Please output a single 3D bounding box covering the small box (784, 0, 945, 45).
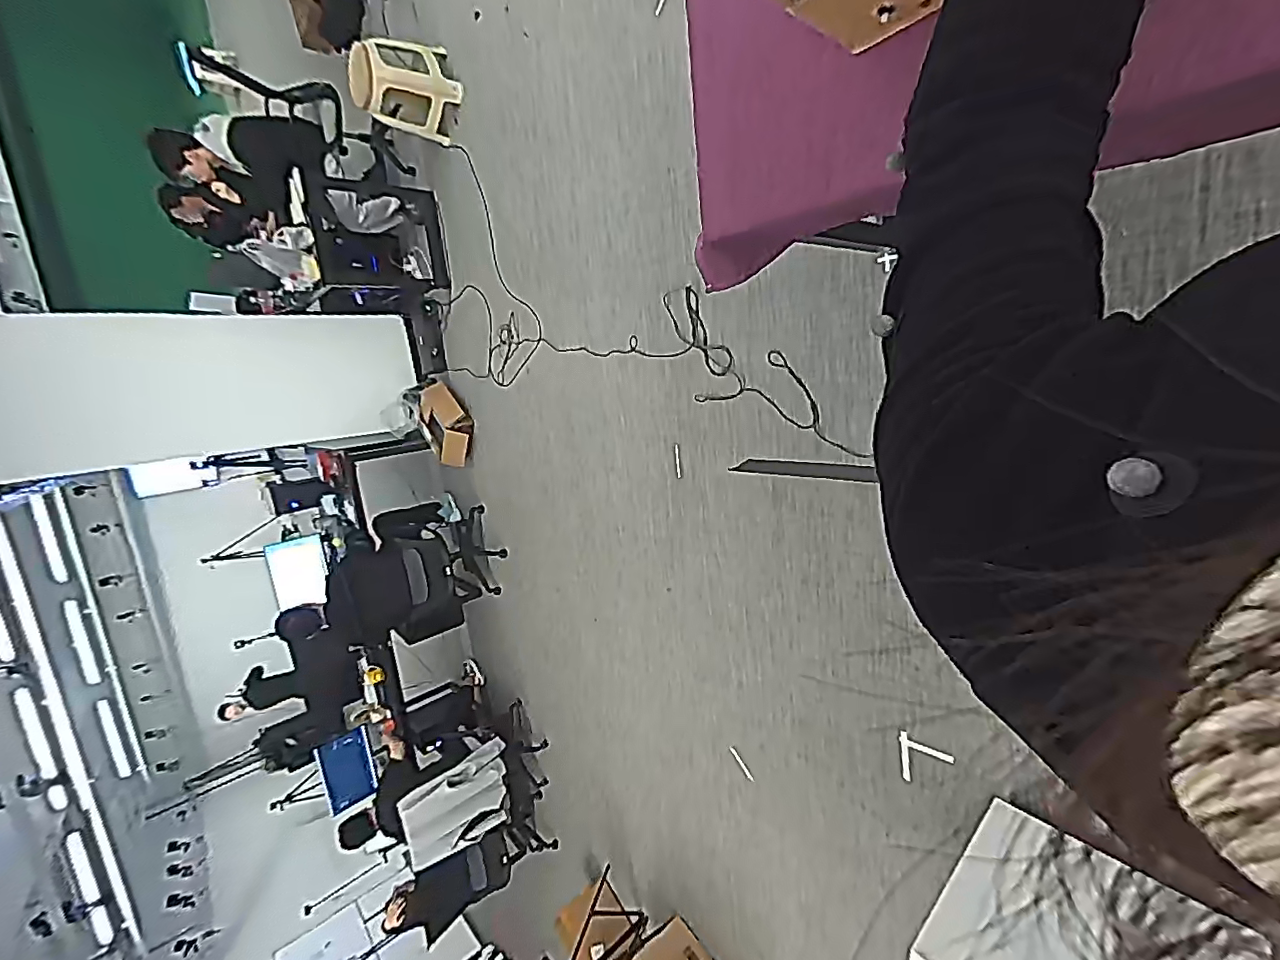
[{"bbox_3d":[0.274,-0.652,0.614,0.168,0.176,0.179,5,107,48],"label":"small box"}]
